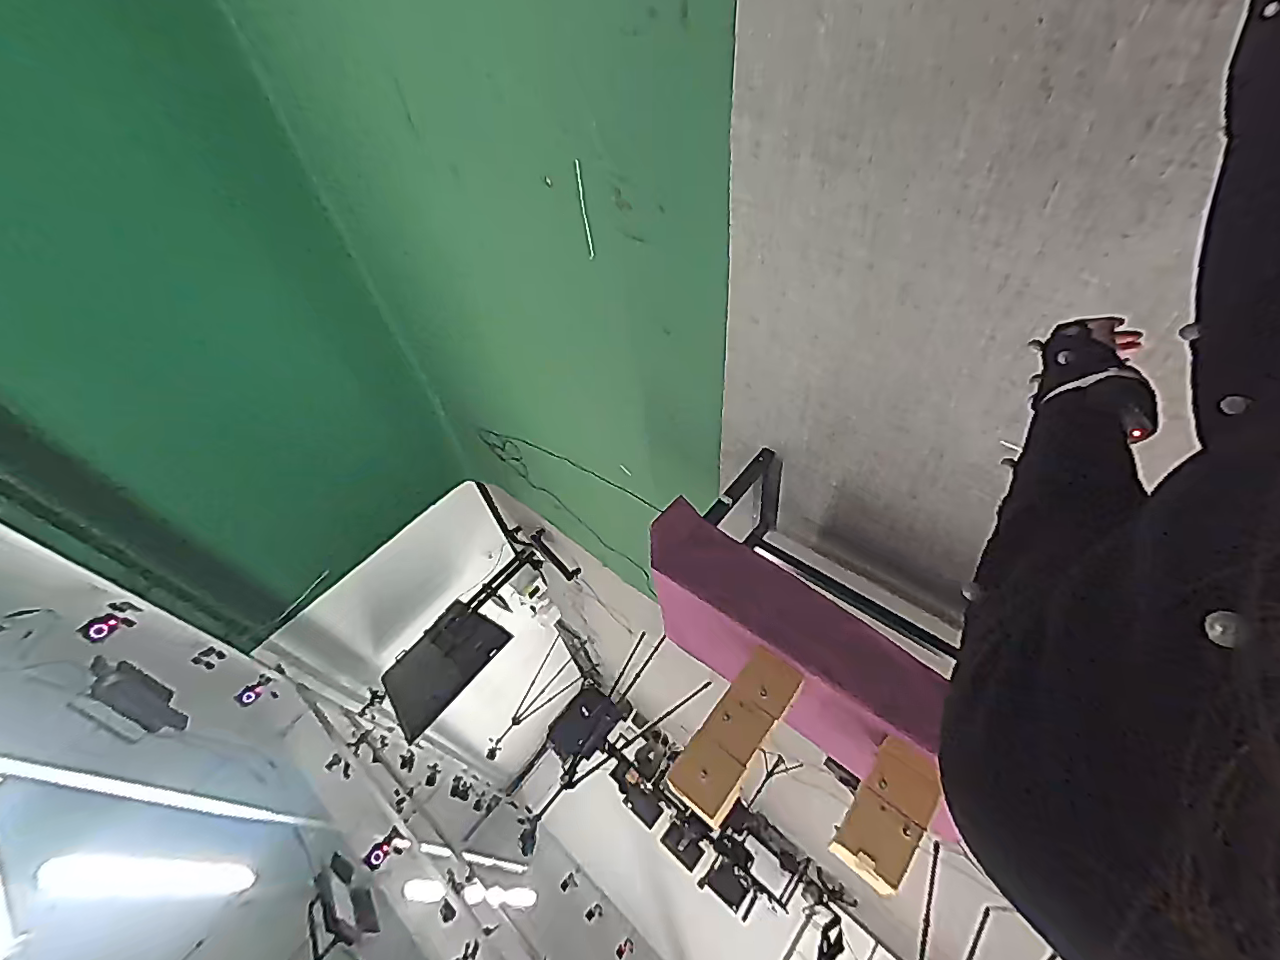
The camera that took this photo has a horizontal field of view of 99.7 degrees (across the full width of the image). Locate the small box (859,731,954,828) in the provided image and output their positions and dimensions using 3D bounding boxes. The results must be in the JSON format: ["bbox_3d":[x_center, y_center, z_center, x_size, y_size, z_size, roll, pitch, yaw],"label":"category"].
[{"bbox_3d":[0.758,0.855,1.539,0.179,0.176,0.168,31,152,30],"label":"small box"}]

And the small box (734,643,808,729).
[{"bbox_3d":[0.422,0.662,1.748,0.179,0.176,0.168,30,151,28],"label":"small box"}]

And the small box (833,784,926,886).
[{"bbox_3d":[0.652,0.962,1.473,0.168,0.176,0.179,30,154,30],"label":"small box"}]

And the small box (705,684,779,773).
[{"bbox_3d":[0.319,0.771,1.686,0.168,0.176,0.179,30,152,30],"label":"small box"}]
